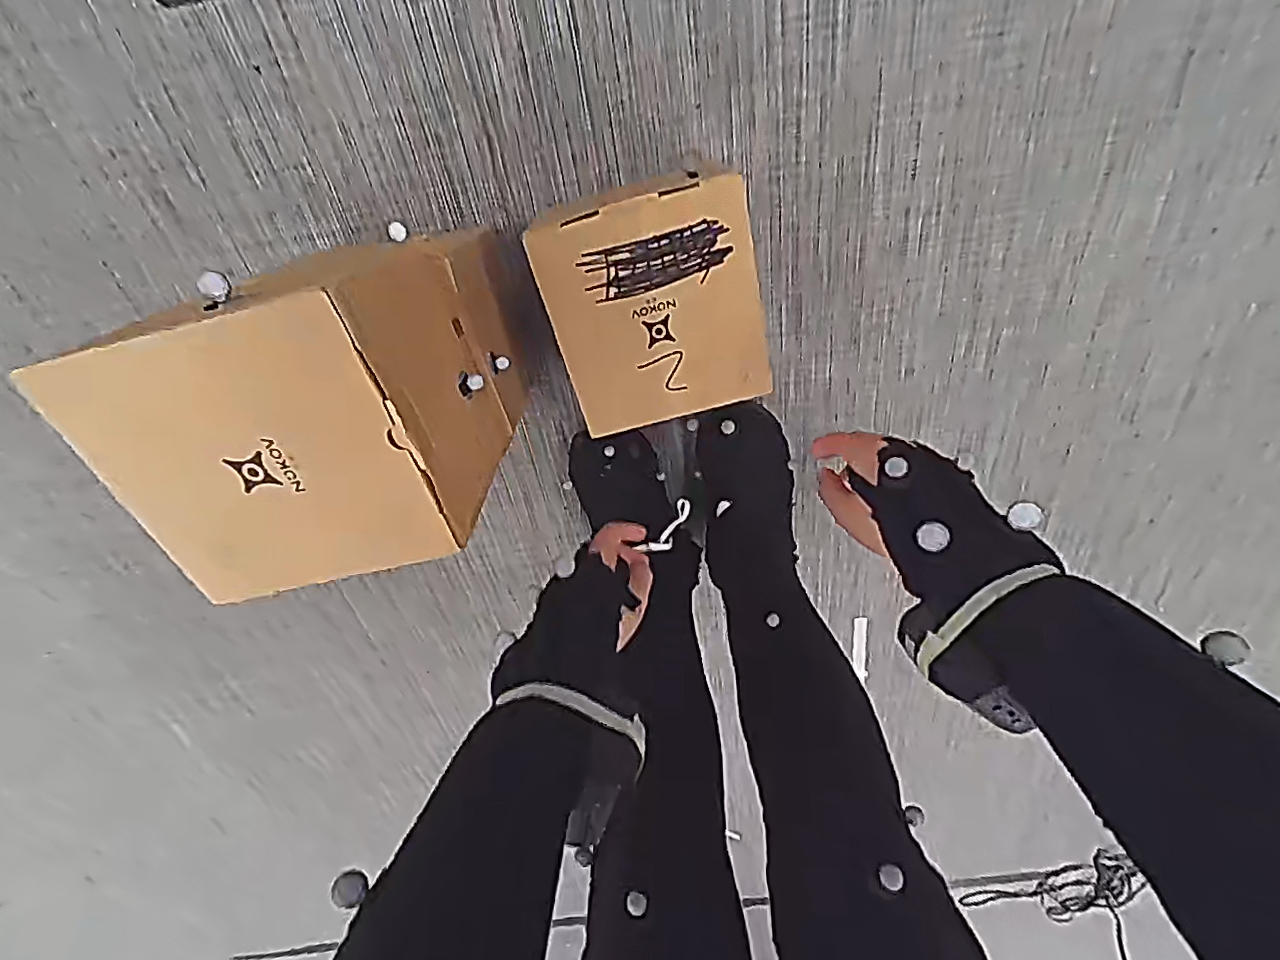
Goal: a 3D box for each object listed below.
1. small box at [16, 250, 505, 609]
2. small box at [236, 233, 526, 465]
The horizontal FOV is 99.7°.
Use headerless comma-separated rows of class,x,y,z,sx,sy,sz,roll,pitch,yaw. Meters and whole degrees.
small box,-0.213,-0.043,0.369,0.179,0.176,0.168,-13,121,5
small box,-0.214,-0.122,0.512,0.168,0.176,0.179,-7,121,2
